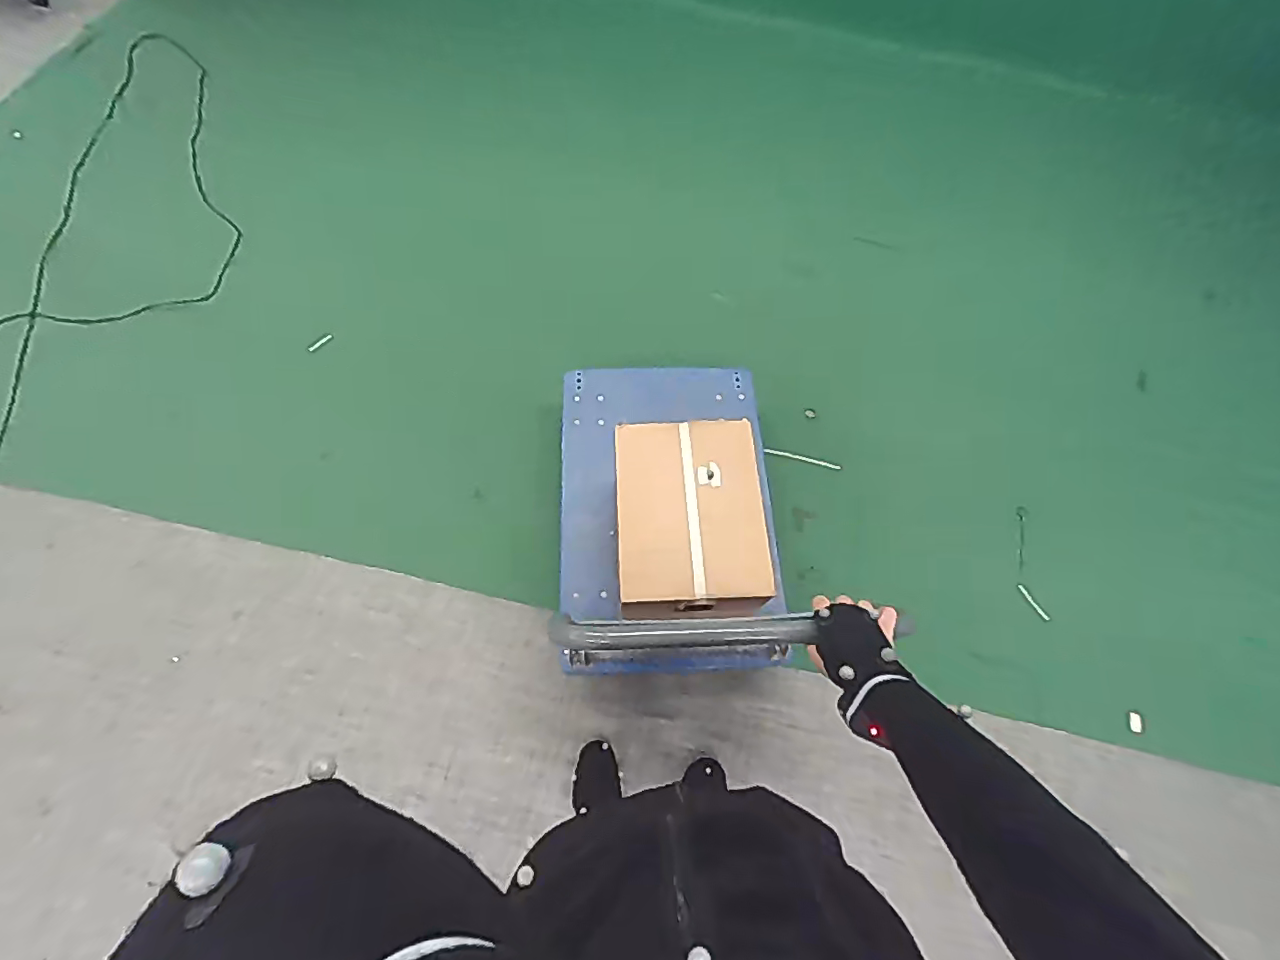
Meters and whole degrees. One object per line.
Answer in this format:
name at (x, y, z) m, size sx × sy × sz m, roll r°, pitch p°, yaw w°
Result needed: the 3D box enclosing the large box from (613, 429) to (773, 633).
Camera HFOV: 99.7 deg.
large box at (0.101, 0.131, 1.296) m, size 0.320 × 0.320 × 0.408 m, roll -2°, pitch 65°, yaw -3°
